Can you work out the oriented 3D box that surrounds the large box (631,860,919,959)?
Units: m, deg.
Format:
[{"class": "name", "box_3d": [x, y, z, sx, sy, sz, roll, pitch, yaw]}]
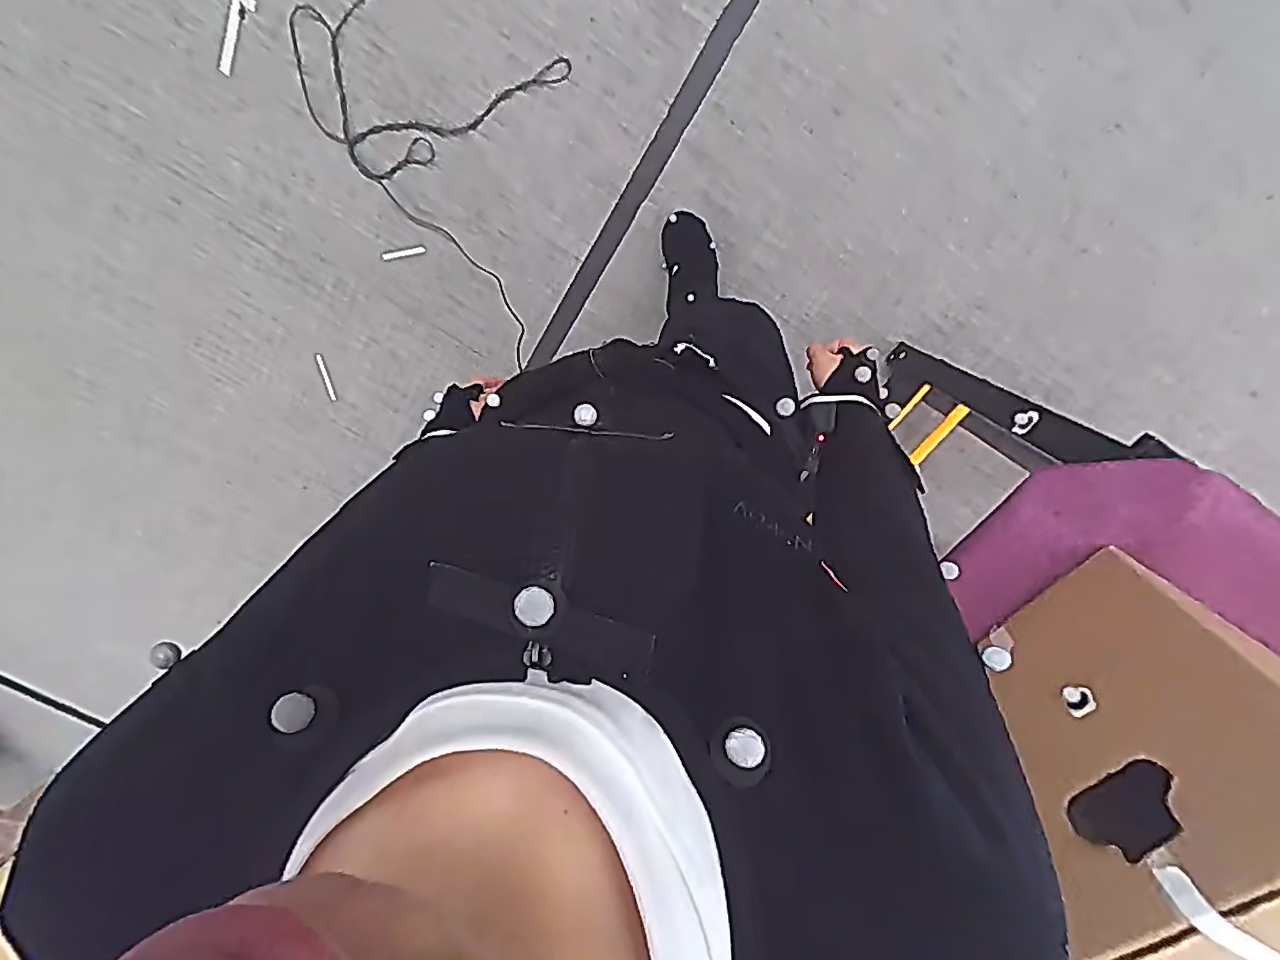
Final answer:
[{"class": "large box", "box_3d": [0.219, 0.874, 0.822, 0.408, 0.320, 0.320, 30, 113, -10]}]
